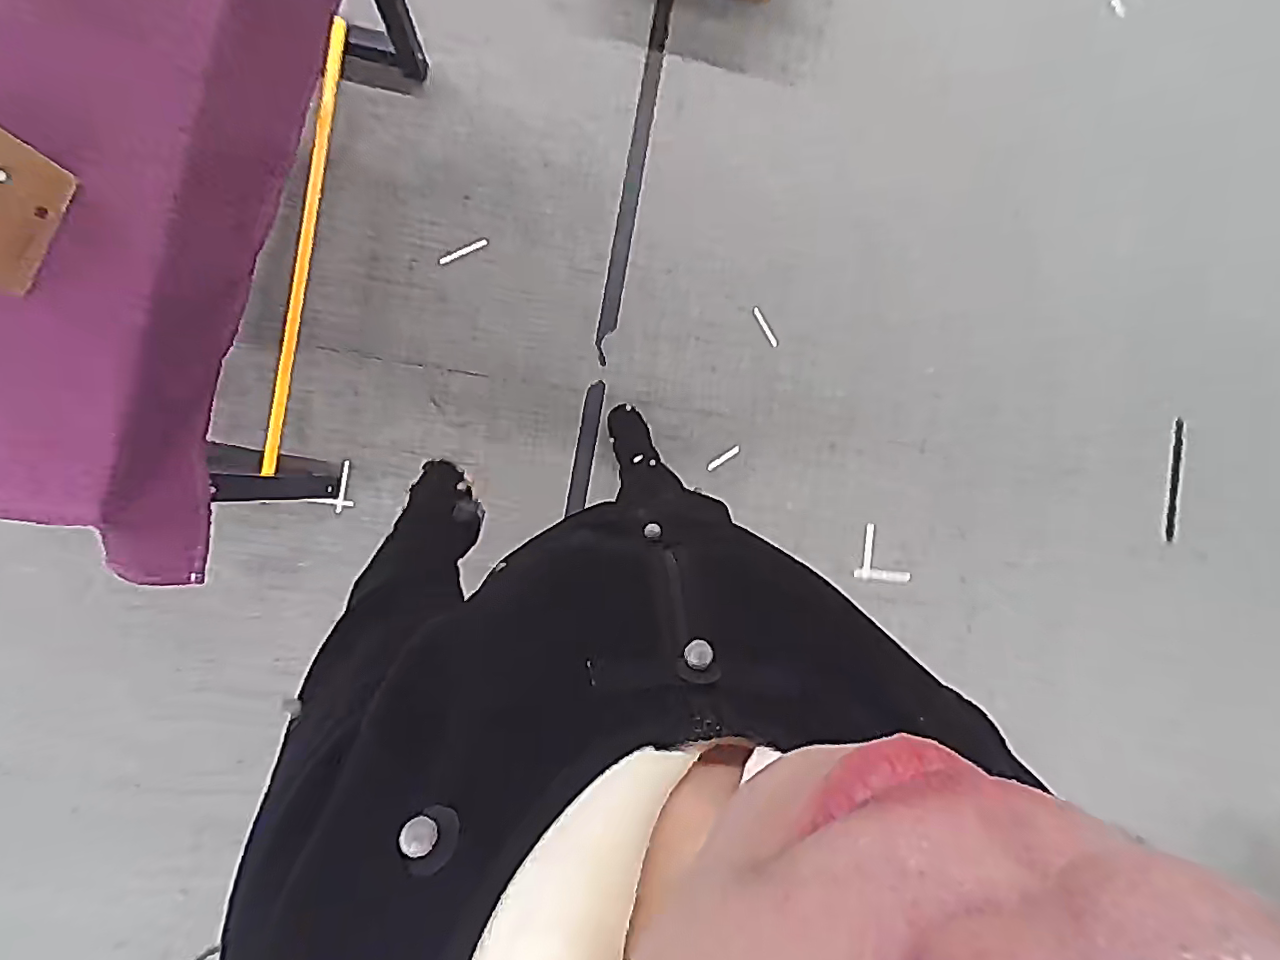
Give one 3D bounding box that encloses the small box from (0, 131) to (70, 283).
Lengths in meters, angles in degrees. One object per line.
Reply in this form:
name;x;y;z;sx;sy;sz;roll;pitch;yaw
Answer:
small box;-0.808;-0.340;0.590;0.179;0.176;0.168;21;86;-6
